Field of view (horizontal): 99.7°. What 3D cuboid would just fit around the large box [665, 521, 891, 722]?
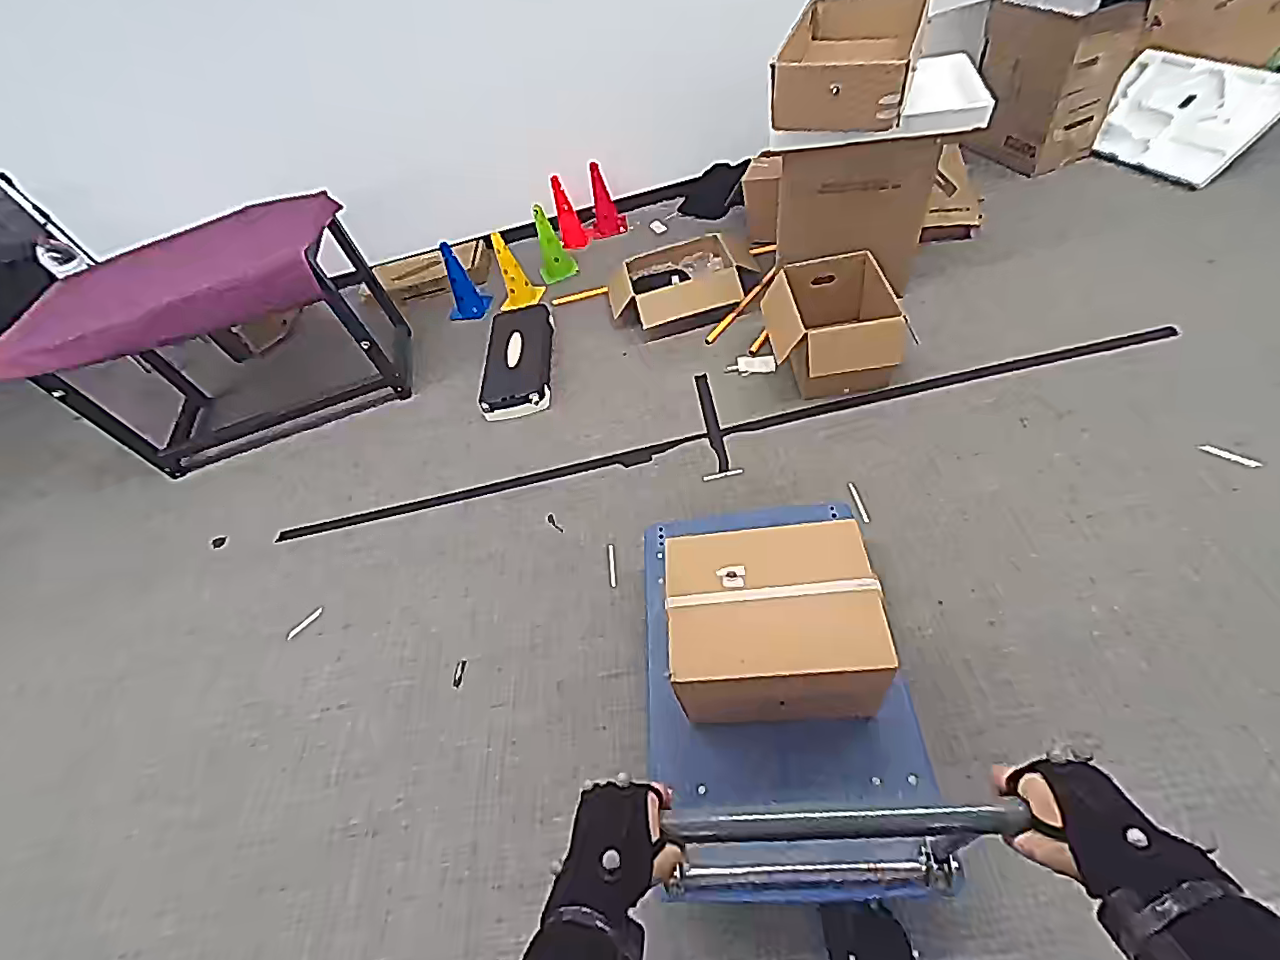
[{"bbox_3d":[0.283,0.323,1.189,0.408,0.320,0.320,-8,50,10],"label":"large box"}]
